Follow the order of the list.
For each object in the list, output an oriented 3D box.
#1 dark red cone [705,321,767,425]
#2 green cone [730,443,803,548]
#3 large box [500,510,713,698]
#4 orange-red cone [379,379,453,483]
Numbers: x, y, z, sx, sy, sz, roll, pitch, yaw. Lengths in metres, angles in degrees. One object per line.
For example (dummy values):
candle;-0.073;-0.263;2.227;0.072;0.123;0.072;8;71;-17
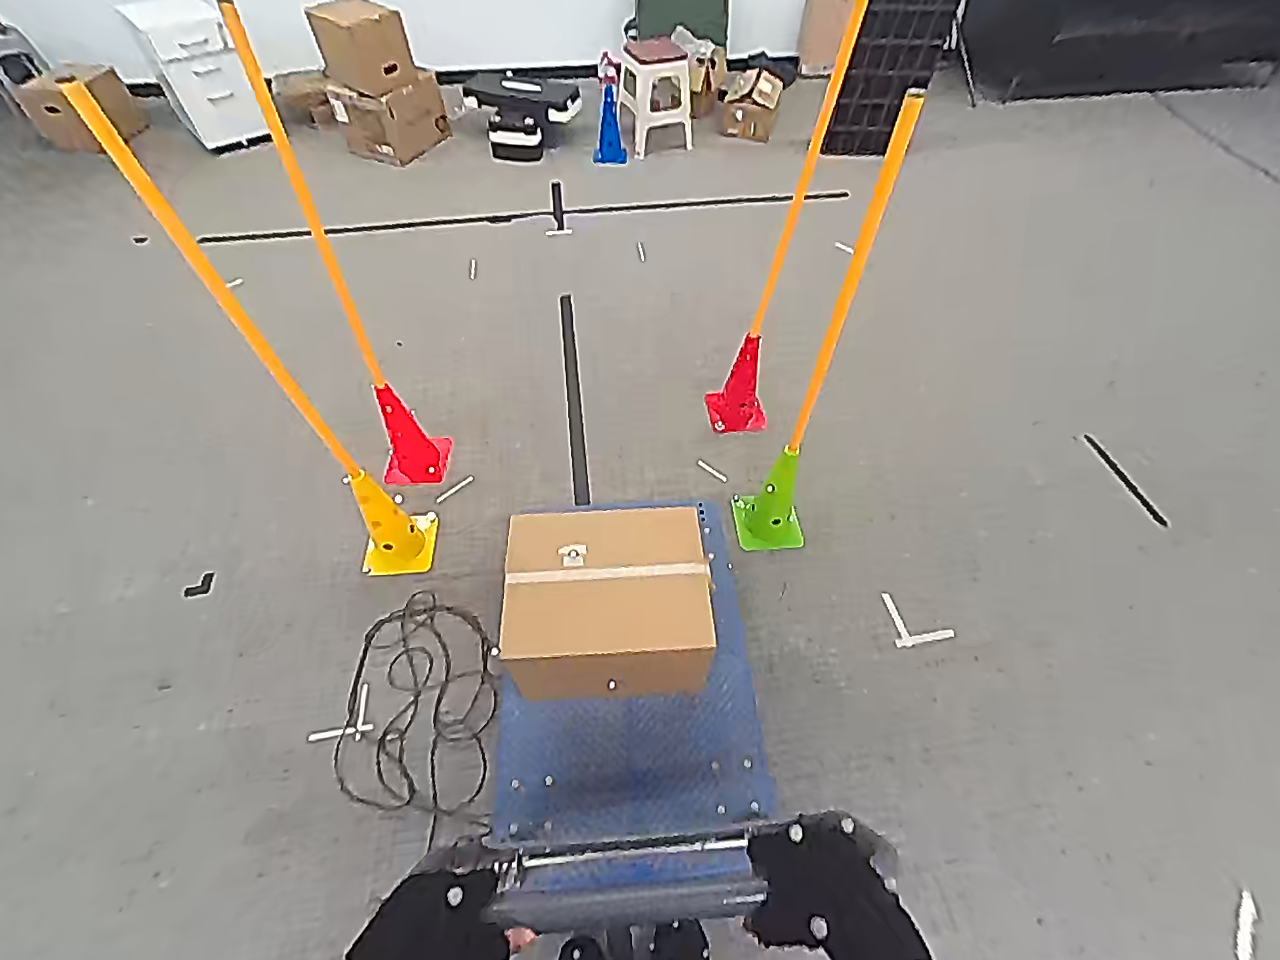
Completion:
dark red cone;0.359;-0.373;1.858;0.201;0.394;0.202;-5;54;-7
green cone;0.404;0.027;1.586;0.202;0.368;0.200;-2;54;-4
large box;-0.069;0.285;1.208;0.408;0.320;0.320;-2;54;-2
orange-red cone;-0.749;-0.178;1.715;0.198;0.360;0.199;1;52;-2
